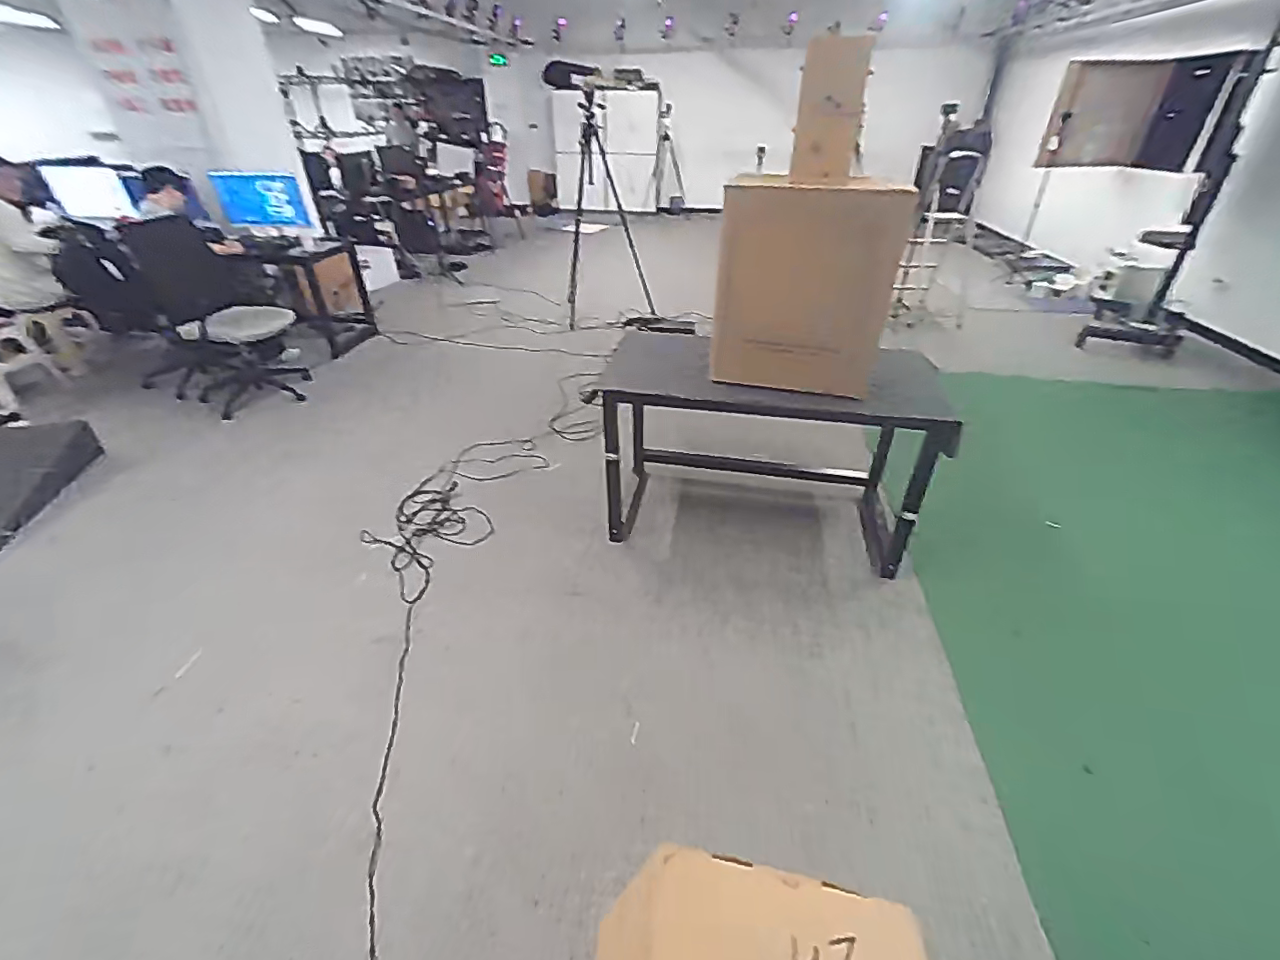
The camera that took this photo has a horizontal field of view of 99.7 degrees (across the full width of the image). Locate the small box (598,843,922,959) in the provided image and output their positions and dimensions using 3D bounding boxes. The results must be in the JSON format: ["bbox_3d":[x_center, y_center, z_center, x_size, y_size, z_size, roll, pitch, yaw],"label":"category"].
[{"bbox_3d":[0.059,0.358,0.314,0.168,0.176,0.179,18,35,-4],"label":"small box"}]

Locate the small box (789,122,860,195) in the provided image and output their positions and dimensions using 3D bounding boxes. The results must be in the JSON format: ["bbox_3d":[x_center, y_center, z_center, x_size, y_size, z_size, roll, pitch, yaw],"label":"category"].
[{"bbox_3d":[0.532,-0.929,1.562,0.168,0.176,0.179,11,37,15],"label":"small box"}]
